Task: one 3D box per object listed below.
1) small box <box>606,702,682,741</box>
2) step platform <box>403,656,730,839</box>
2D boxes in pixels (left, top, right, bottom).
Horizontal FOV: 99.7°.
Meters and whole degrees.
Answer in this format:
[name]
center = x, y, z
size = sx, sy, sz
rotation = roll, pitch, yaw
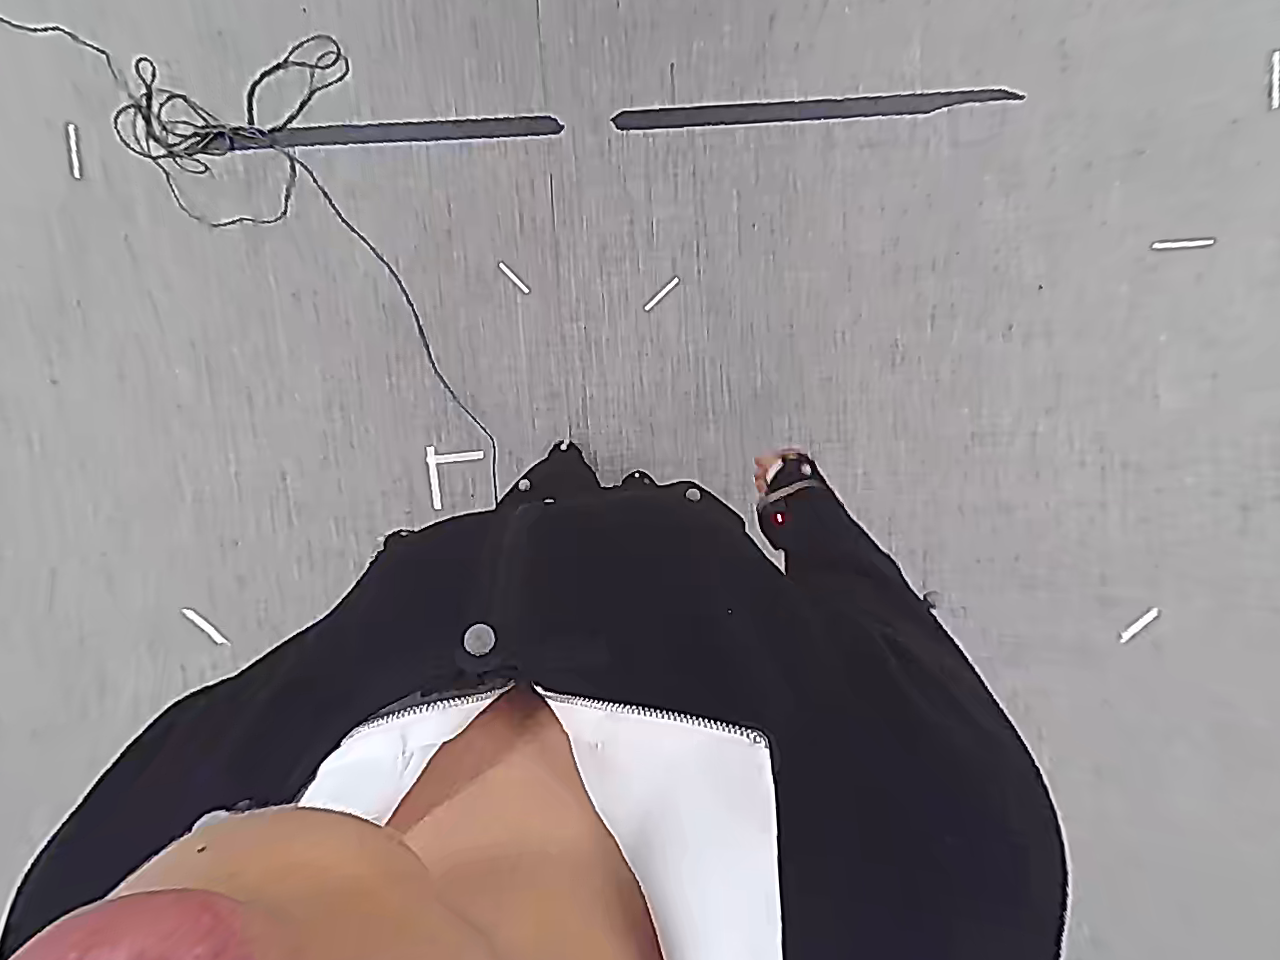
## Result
[small box]
center = 0.016, 0.617, 1.252
size = 0.168, 0.176, 0.179
rotation = -5, 94, 1
[step platform]
center = -0.152, 0.586, 1.218
size = 0.684, 0.204, 0.286
rotation = -5, 95, 2
